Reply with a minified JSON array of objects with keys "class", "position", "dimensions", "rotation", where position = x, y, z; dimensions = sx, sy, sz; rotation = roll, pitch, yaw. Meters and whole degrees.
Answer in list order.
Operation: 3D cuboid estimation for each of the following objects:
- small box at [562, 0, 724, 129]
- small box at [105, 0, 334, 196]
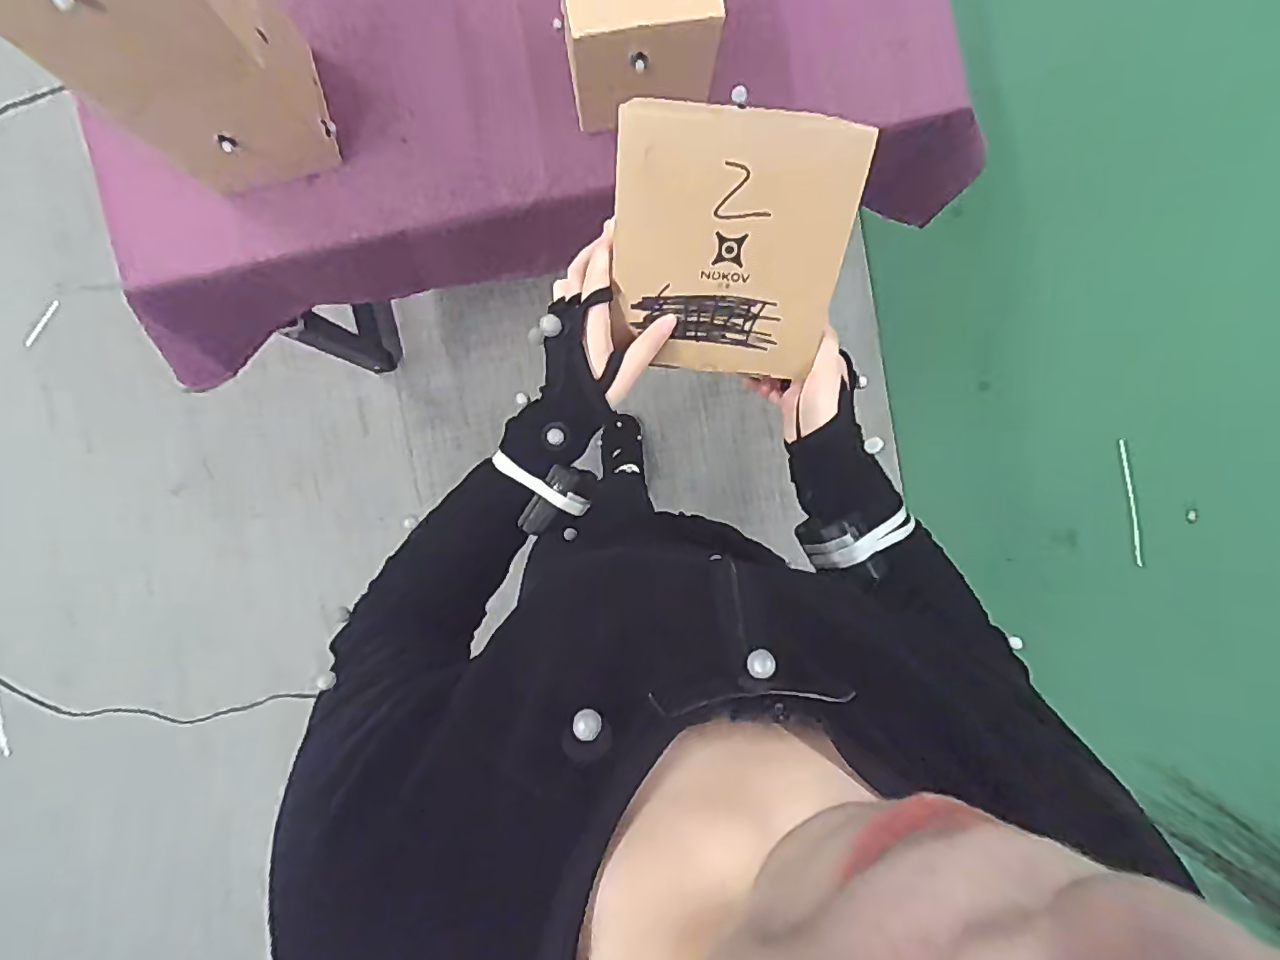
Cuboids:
[{"class":"small box","position":[-0.005,-0.571,0.672],"dimensions":[0.179,0.176,0.168],"rotation":[-9,91,-2]},{"class":"small box","position":[-0.503,-0.480,0.654],"dimensions":[0.179,0.176,0.168],"rotation":[-16,91,-1]}]
